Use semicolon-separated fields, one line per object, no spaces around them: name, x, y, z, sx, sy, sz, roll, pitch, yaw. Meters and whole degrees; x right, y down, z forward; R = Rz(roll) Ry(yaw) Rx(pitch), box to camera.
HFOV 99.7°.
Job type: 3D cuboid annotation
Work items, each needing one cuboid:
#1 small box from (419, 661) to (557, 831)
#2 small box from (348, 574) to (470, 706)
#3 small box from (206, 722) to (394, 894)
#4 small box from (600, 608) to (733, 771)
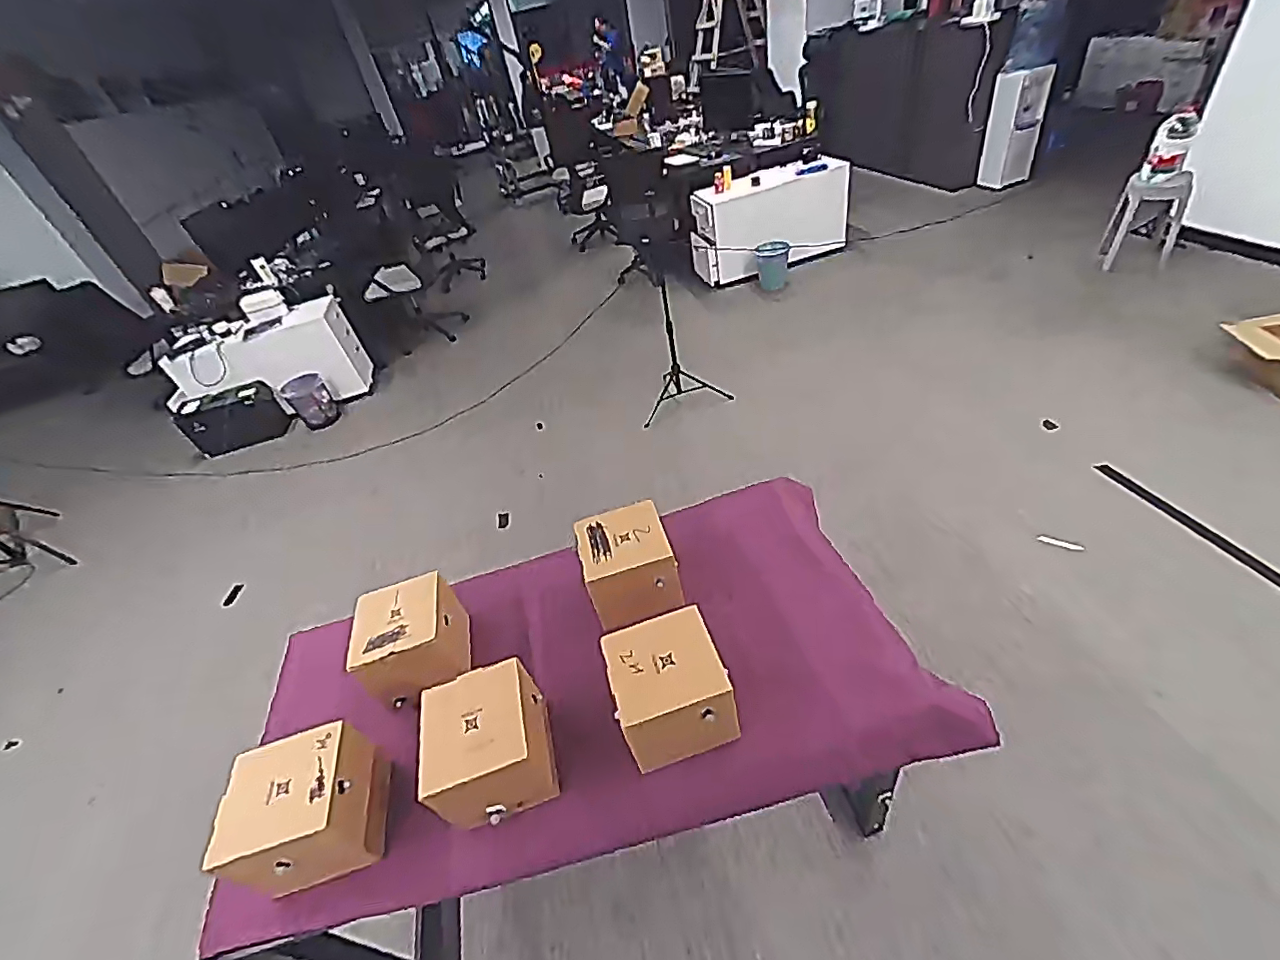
small box;-0.247;0.439;0.896;0.168;0.176;0.179;-19;42;-4
small box;-0.451;0.326;1.084;0.168;0.176;0.179;-18;40;-5
small box;-0.528;0.530;0.870;0.179;0.176;0.168;-18;41;-4
small box;0.048;0.350;0.905;0.179;0.176;0.168;-19;40;-4
